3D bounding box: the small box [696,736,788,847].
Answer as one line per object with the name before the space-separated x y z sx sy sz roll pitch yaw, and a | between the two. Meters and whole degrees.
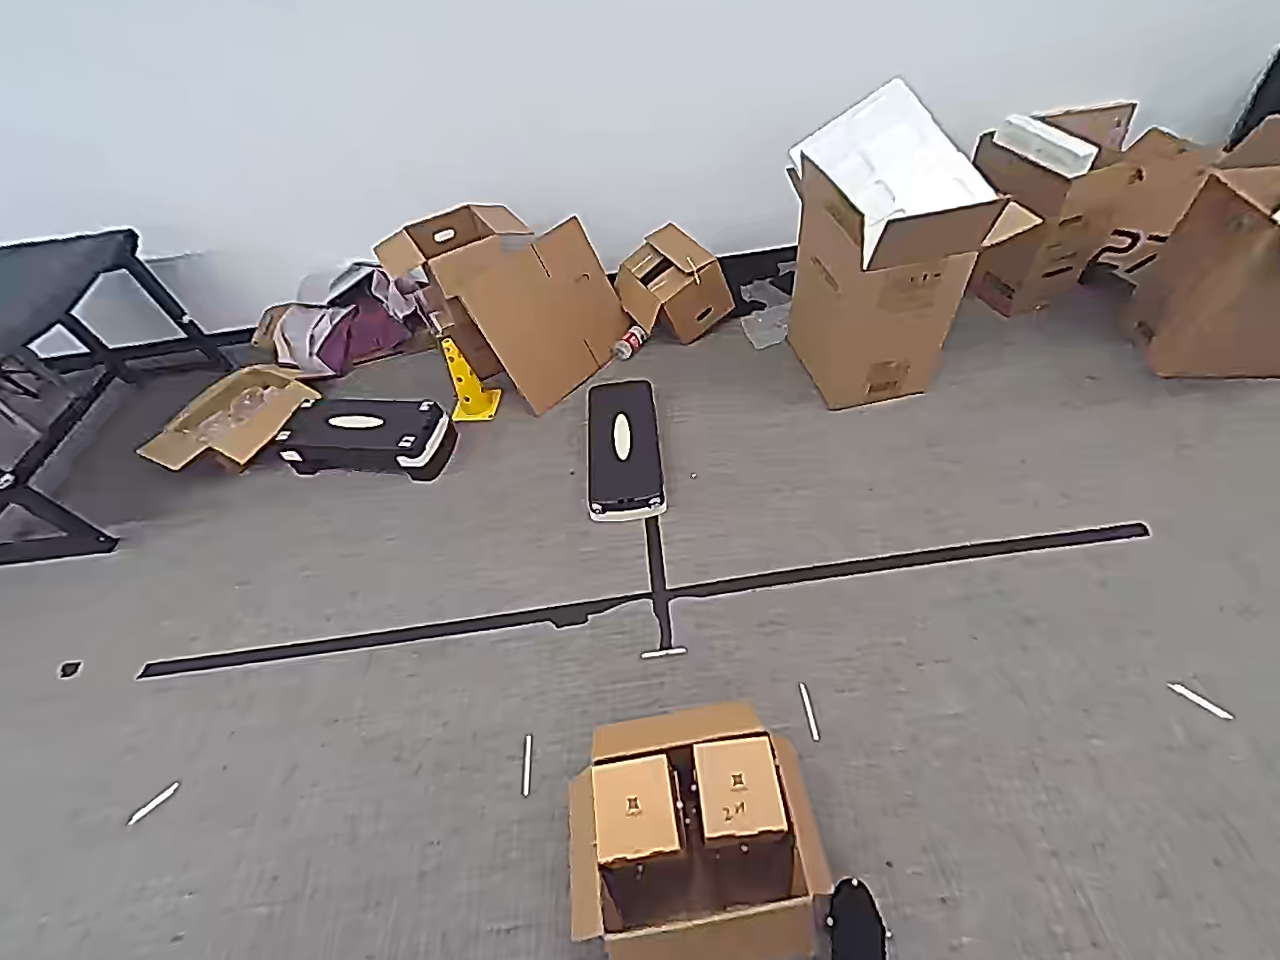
small box | 0.212 0.674 1.167 0.168 0.176 0.179 -7 50 3
